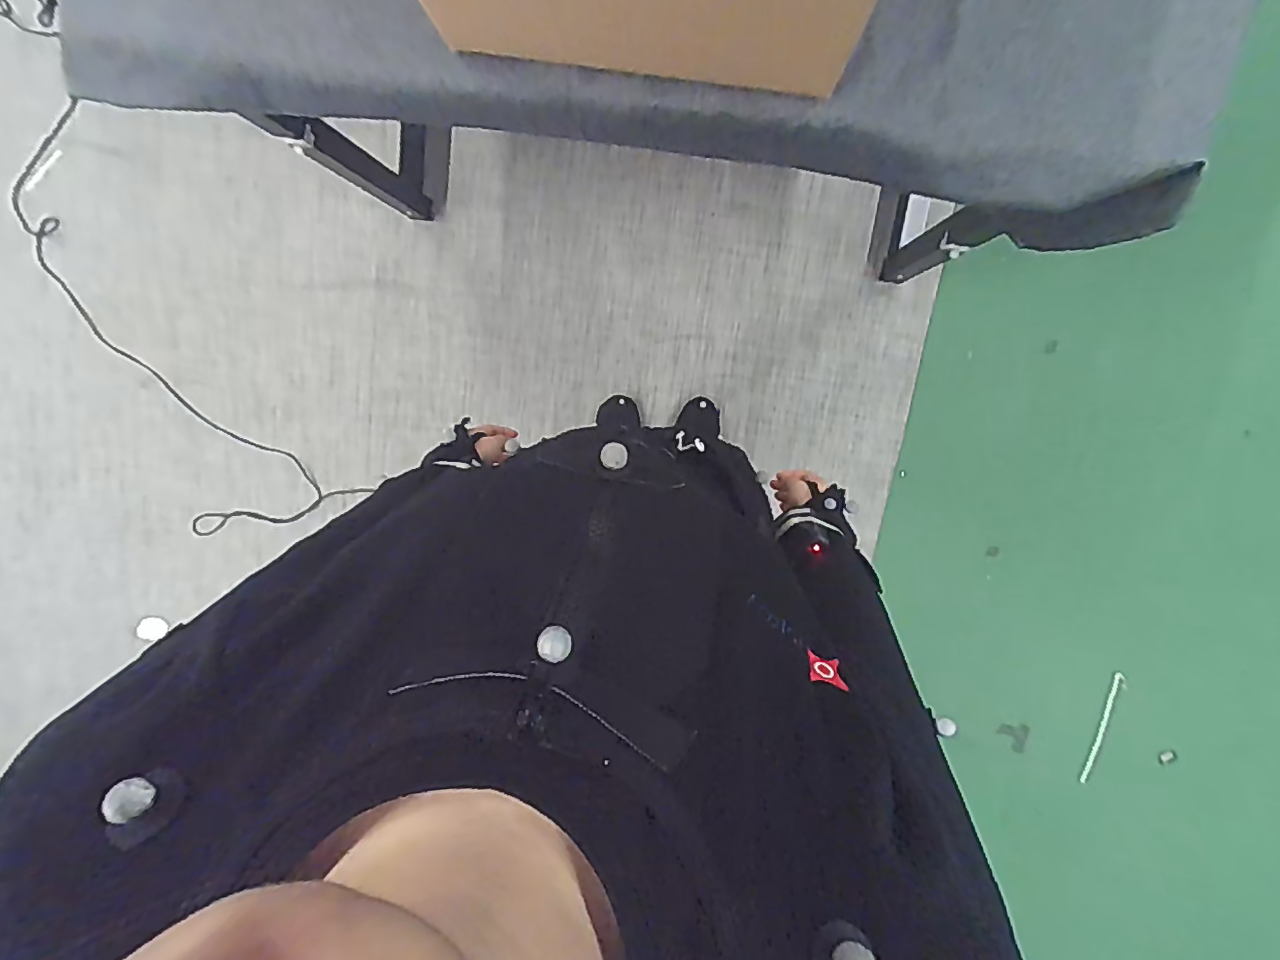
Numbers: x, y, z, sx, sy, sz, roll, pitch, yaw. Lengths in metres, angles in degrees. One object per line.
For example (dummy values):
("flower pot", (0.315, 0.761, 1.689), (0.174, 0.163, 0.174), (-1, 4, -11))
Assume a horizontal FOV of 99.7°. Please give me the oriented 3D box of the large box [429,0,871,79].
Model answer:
("large box", (0.009, -0.556, 0.388), (0.408, 0.320, 0.320), (9, 99, 2))
